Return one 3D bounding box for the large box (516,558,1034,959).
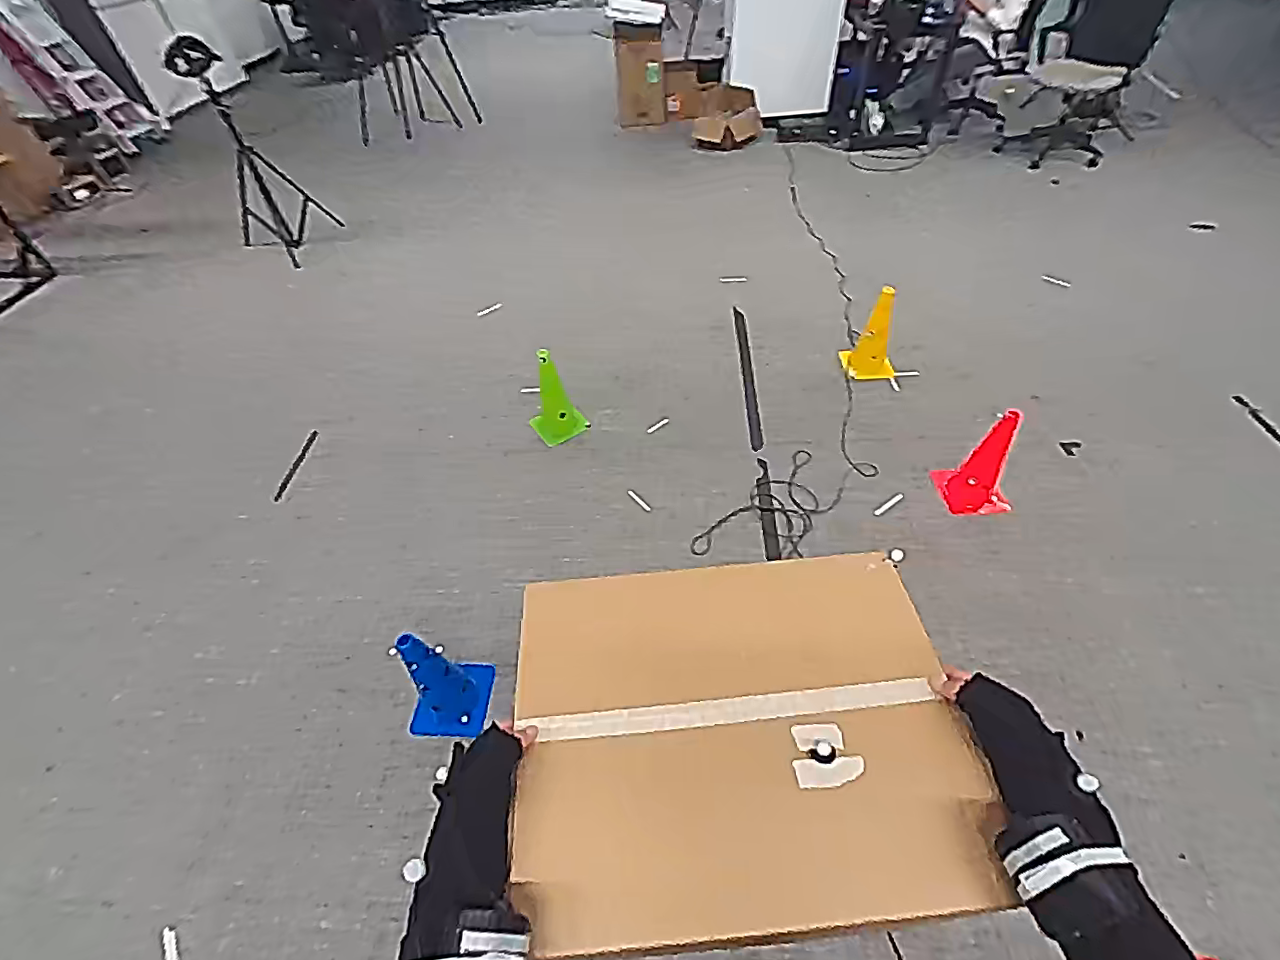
[{"bbox_3d":[0.095,0.319,0.610,0.408,0.320,0.320,-5,48,-2],"label":"large box"}]

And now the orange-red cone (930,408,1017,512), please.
[{"bbox_3d":[1.114,-0.084,1.739,0.198,0.360,0.199,-3,46,1],"label":"orange-red cone"}]

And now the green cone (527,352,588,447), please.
[{"bbox_3d":[-0.357,-0.342,2.104,0.202,0.368,0.200,-31,52,-20],"label":"green cone"}]

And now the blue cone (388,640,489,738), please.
[{"bbox_3d":[-0.536,0.505,1.375,0.192,0.380,0.193,0,48,7],"label":"blue cone"}]
